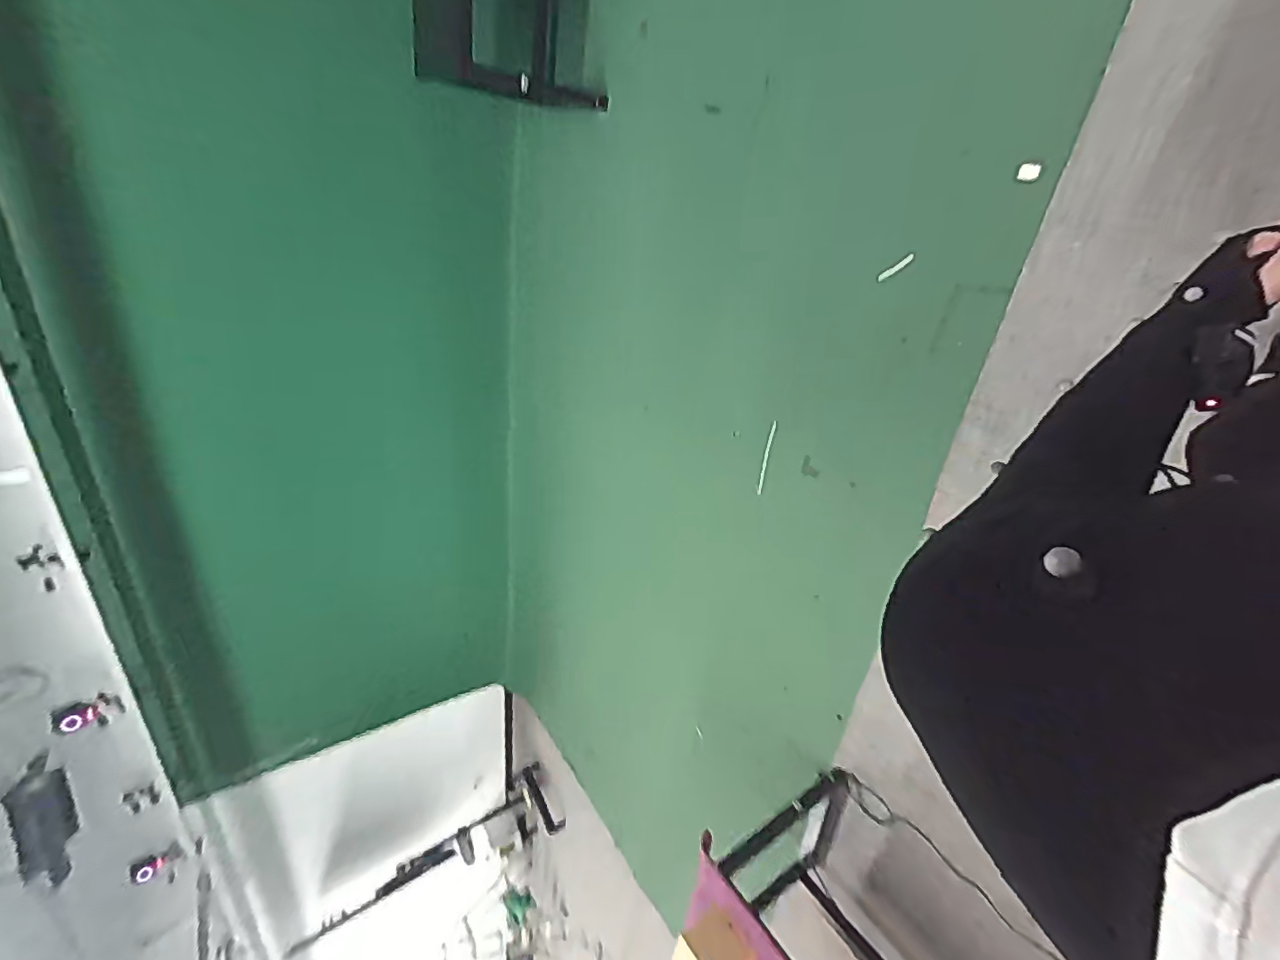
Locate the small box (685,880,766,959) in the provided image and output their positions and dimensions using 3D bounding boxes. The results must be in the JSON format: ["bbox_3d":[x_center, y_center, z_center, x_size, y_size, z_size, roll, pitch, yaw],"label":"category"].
[{"bbox_3d":[0.264,1.398,1.666,0.168,0.176,0.179,36,129,44],"label":"small box"}]
